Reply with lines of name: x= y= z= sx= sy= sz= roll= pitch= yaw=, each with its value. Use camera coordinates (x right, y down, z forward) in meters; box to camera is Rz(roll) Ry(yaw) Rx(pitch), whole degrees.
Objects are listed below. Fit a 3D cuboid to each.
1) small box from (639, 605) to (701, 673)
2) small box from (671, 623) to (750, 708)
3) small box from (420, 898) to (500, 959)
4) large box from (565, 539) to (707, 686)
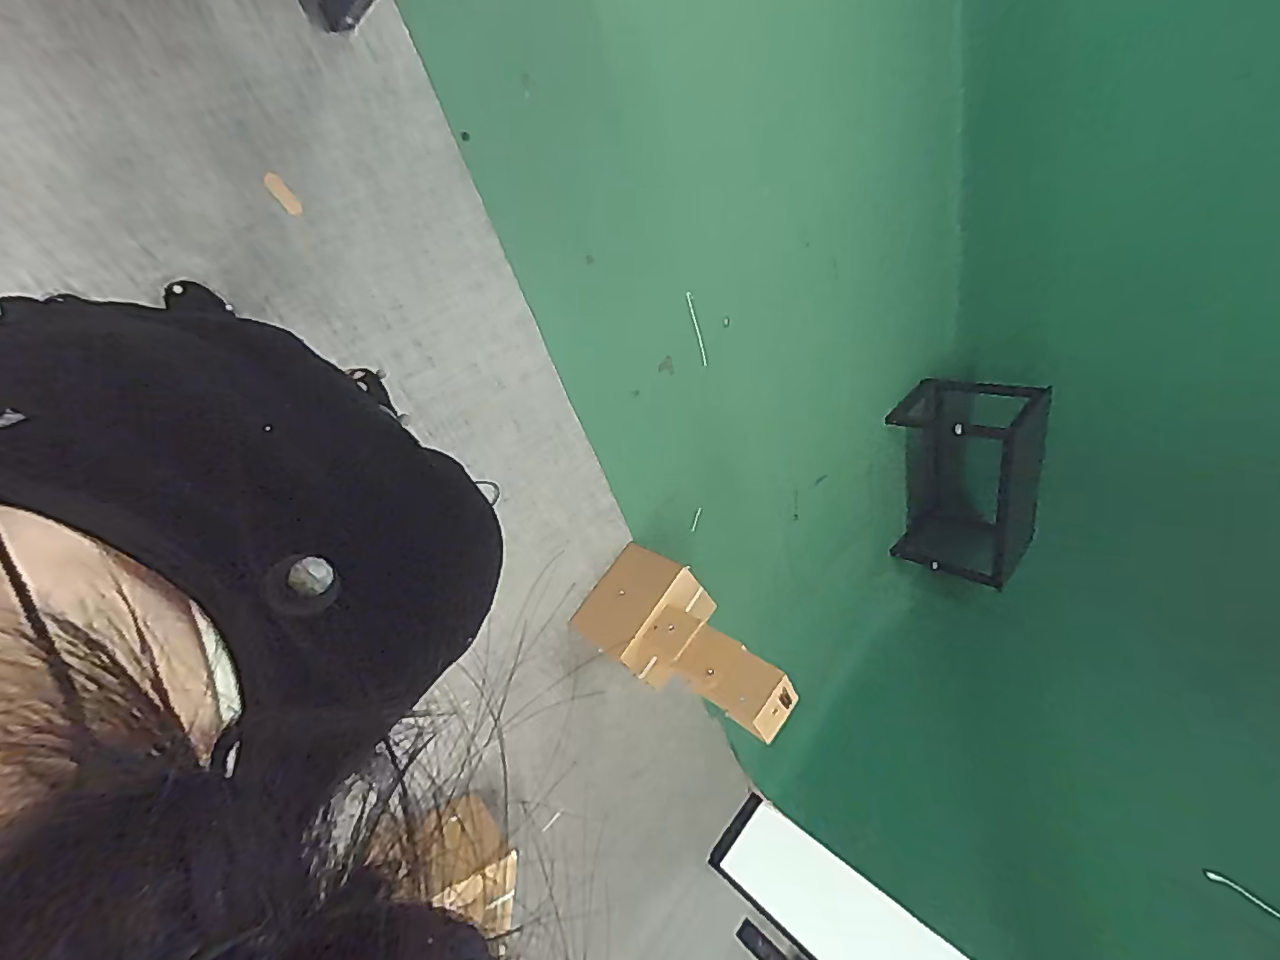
small box: x=0.125 y=0.564 z=1.909 sx=0.168 sy=0.176 sz=0.179 roll=-47 pitch=130 yaw=-21
small box: x=0.233 y=0.608 z=1.797 sx=0.179 sy=0.176 sz=0.168 roll=-46 pitch=130 yaw=-22
small box: x=-0.523 y=1.372 z=1.553 sx=0.179 sy=0.176 sz=0.168 roll=-8 pitch=110 yaw=-41
large box: x=-0.011 y=0.508 z=2.110 sx=0.408 sy=0.320 sz=0.320 roll=-53 pitch=133 yaw=-19
